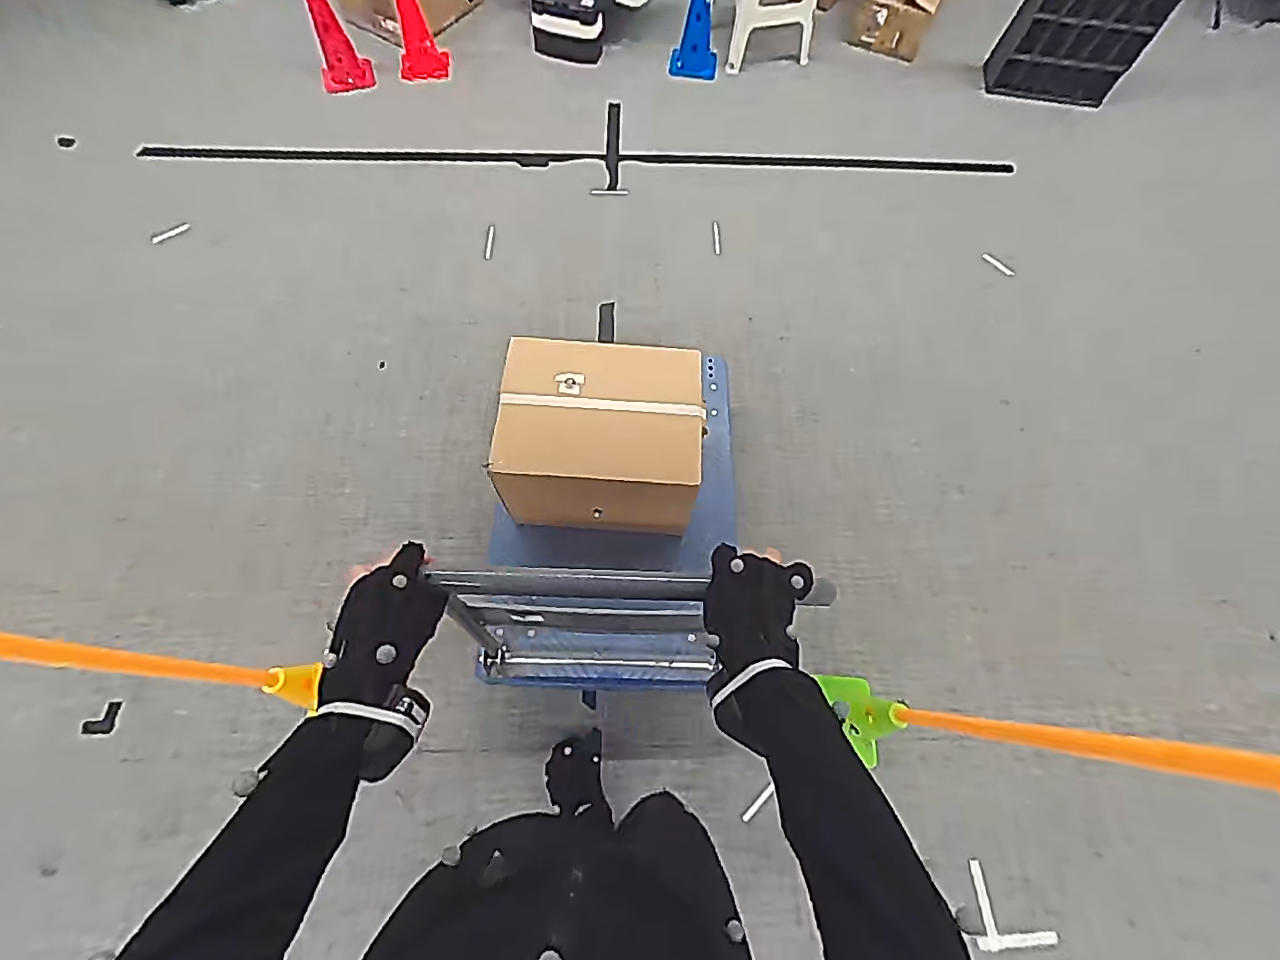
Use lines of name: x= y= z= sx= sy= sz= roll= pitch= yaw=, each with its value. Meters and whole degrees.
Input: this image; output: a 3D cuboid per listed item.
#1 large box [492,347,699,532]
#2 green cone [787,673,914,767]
large box: x=-0.081 y=-0.077 z=1.229 sx=0.408 sy=0.320 sz=0.320 roll=4 pitch=66 yaw=0
green cone: x=0.466 y=0.506 z=1.146 sx=0.202 sy=0.368 sz=0.200 roll=5 pitch=66 yaw=-1
